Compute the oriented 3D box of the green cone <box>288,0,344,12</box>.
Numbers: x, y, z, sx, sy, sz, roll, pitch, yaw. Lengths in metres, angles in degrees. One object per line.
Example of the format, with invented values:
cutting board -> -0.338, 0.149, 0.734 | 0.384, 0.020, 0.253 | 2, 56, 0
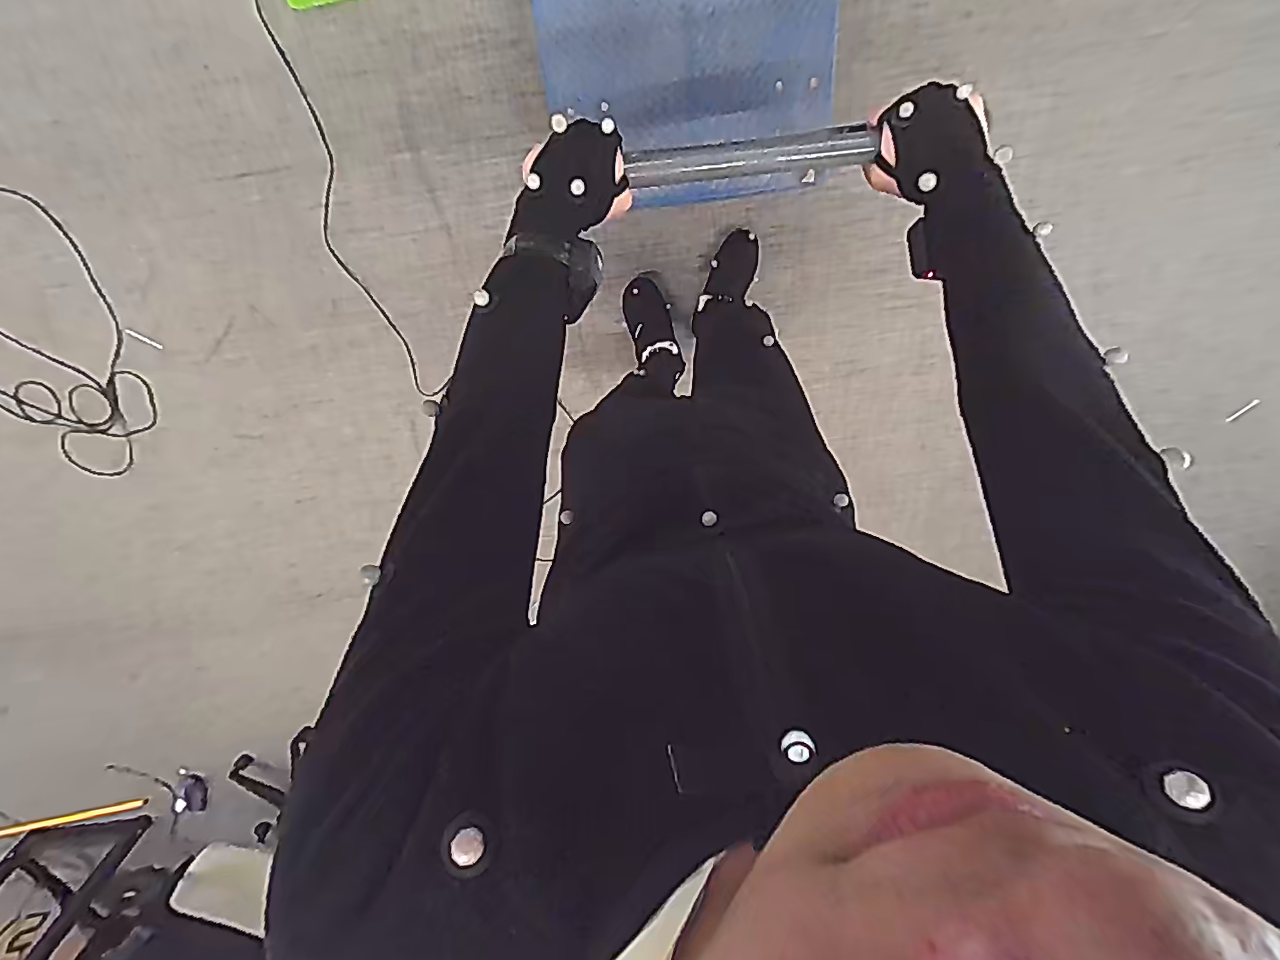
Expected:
green cone -> -0.664, -1.012, 0.942 | 0.202, 0.368, 0.200 | -9, 117, 6
